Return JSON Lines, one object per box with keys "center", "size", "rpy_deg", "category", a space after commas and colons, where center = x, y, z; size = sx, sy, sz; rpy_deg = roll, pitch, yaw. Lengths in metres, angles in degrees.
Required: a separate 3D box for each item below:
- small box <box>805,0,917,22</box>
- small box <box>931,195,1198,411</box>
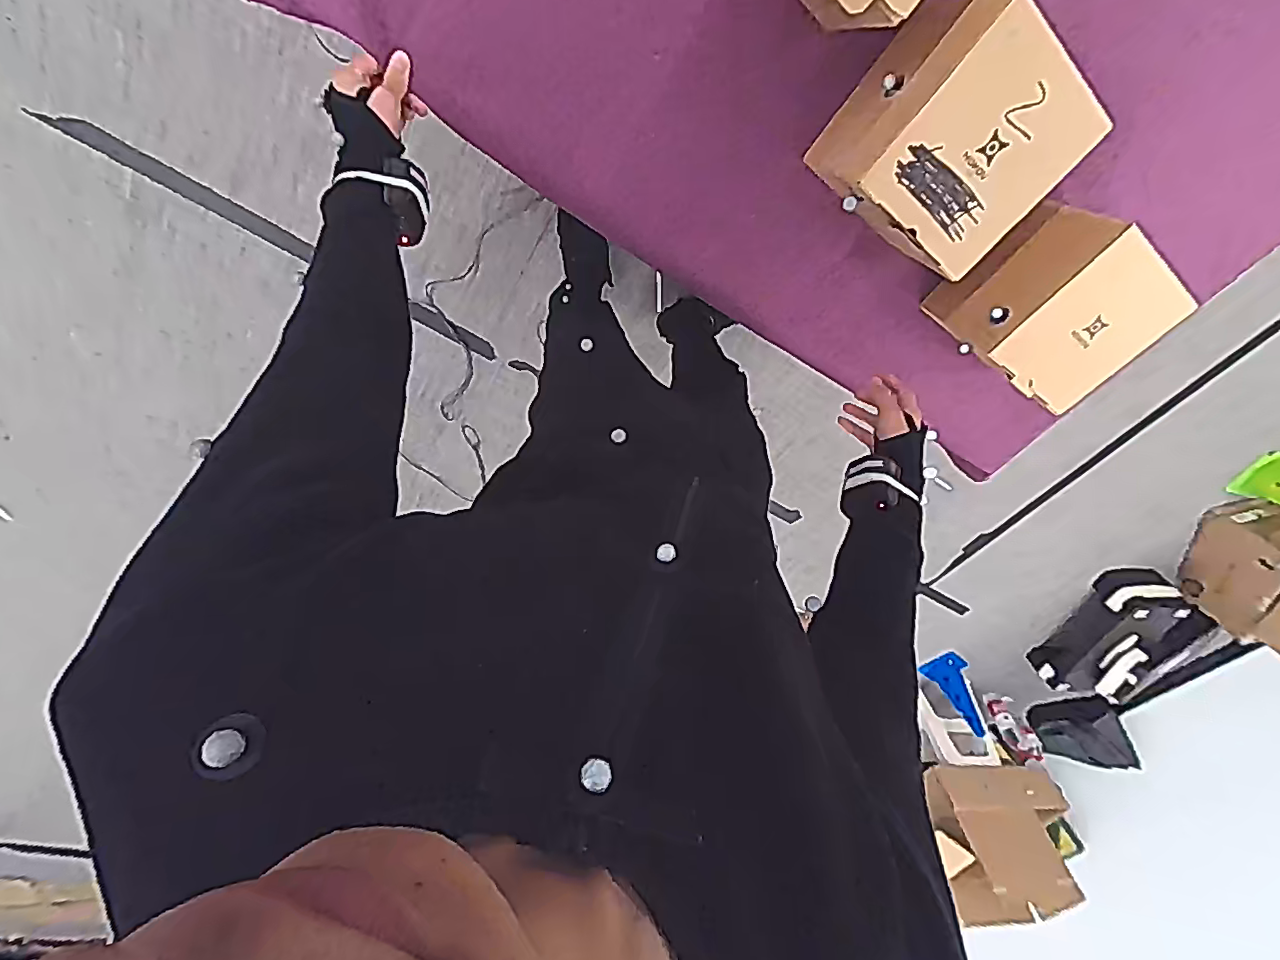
{"center": [0.191, -0.513, 0.425], "size": [0.168, 0.176, 0.179], "rpy_deg": [28, 121, -24], "category": "small box"}
{"center": [0.520, -0.228, 0.689], "size": [0.168, 0.176, 0.179], "rpy_deg": [26, 122, -24], "category": "small box"}
